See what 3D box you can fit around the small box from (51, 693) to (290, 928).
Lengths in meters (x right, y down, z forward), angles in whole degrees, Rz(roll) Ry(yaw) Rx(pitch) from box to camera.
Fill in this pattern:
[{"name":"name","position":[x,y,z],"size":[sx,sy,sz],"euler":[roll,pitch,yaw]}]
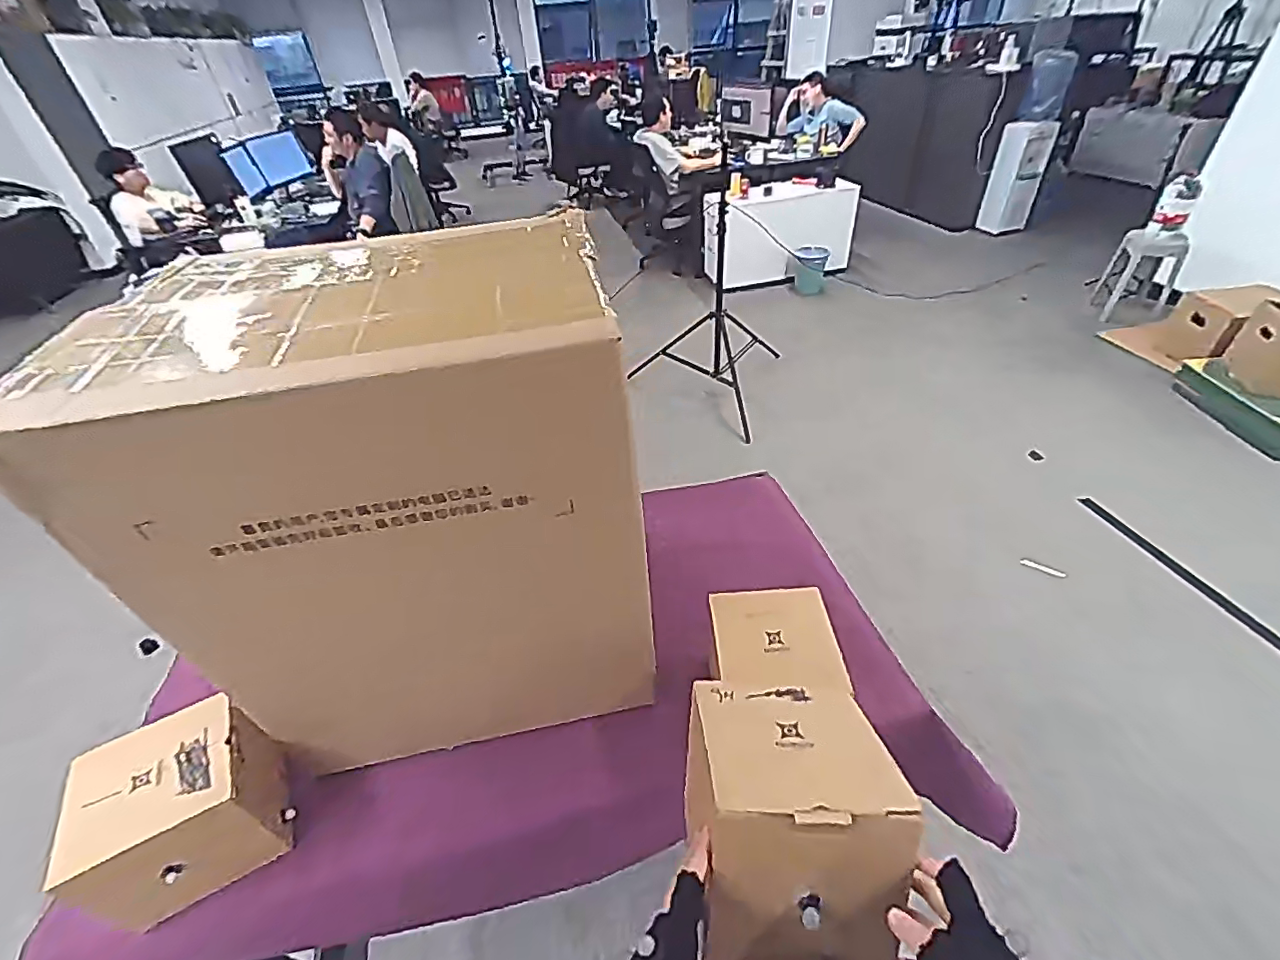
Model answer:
[{"name":"small box","position":[-0.580,0.422,0.701],"size":[0.179,0.176,0.168],"euler":[-23,42,-23]}]

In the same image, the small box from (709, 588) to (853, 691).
[{"name":"small box","position":[0.193,0.284,0.791],"size":[0.168,0.176,0.179],"euler":[-4,38,1]}]

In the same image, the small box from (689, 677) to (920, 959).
[{"name":"small box","position":[0.138,0.314,0.518],"size":[0.168,0.176,0.179],"euler":[2,14,0]}]
